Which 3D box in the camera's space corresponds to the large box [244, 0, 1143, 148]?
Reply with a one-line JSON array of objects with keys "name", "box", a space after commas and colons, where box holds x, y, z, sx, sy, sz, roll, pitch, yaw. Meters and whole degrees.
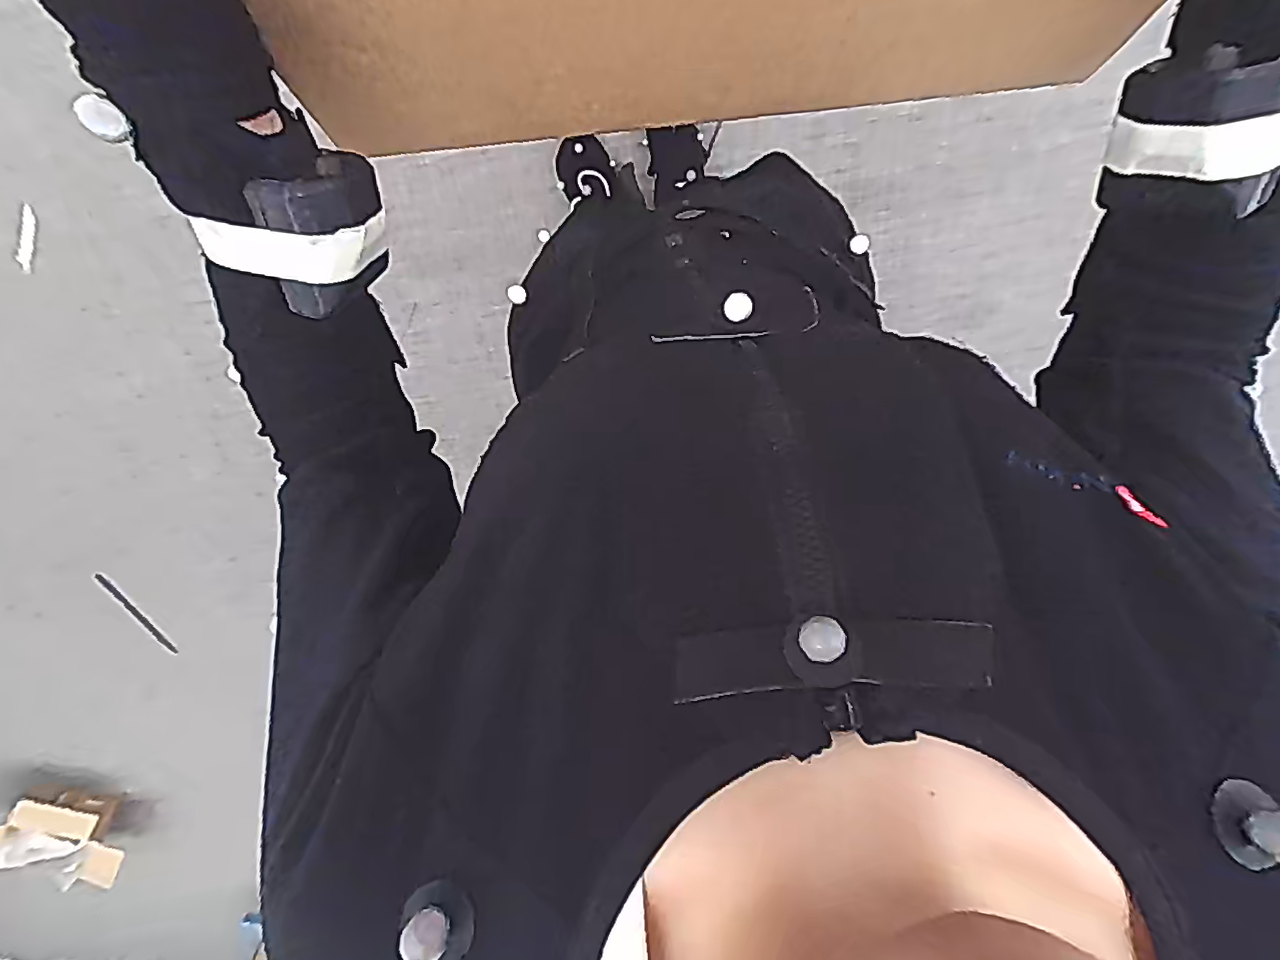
[{"name": "large box", "box": [0.020, -0.368, 0.164, 0.408, 0.320, 0.320, -5, 85, 1]}]
